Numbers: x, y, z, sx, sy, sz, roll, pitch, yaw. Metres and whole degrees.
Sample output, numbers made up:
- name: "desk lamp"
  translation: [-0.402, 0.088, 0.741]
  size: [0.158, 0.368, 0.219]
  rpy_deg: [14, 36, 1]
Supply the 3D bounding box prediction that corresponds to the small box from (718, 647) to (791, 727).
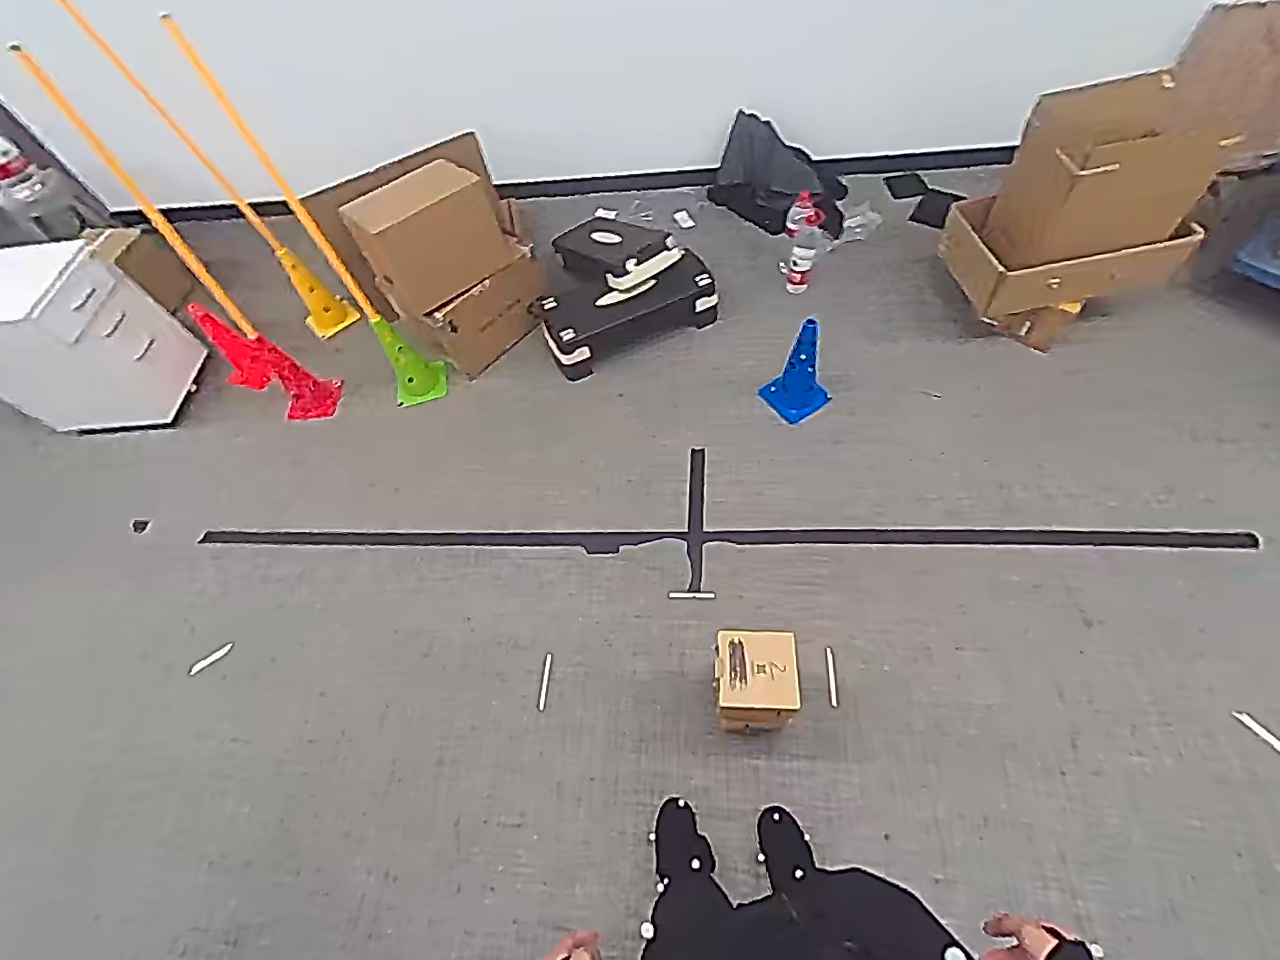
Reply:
- name: "small box"
  translation: [0.291, 0.543, 1.404]
  size: [0.168, 0.176, 0.179]
  rpy_deg: [-4, 59, 5]
